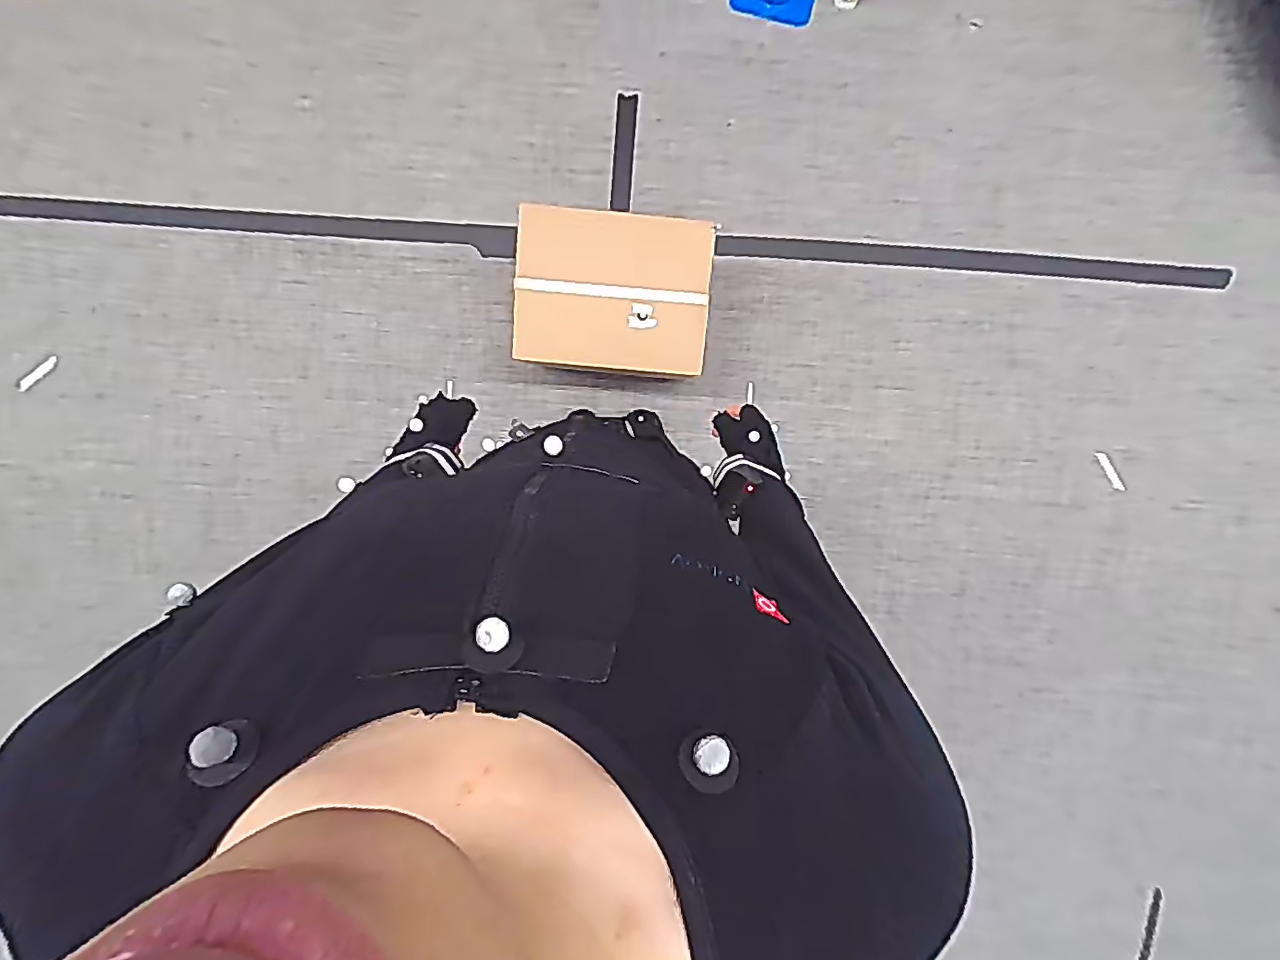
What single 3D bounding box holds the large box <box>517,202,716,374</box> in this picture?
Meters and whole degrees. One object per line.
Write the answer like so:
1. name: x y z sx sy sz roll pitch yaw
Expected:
1. large box: -0.058 -0.422 1.268 0.408 0.320 0.320 4 100 -2
